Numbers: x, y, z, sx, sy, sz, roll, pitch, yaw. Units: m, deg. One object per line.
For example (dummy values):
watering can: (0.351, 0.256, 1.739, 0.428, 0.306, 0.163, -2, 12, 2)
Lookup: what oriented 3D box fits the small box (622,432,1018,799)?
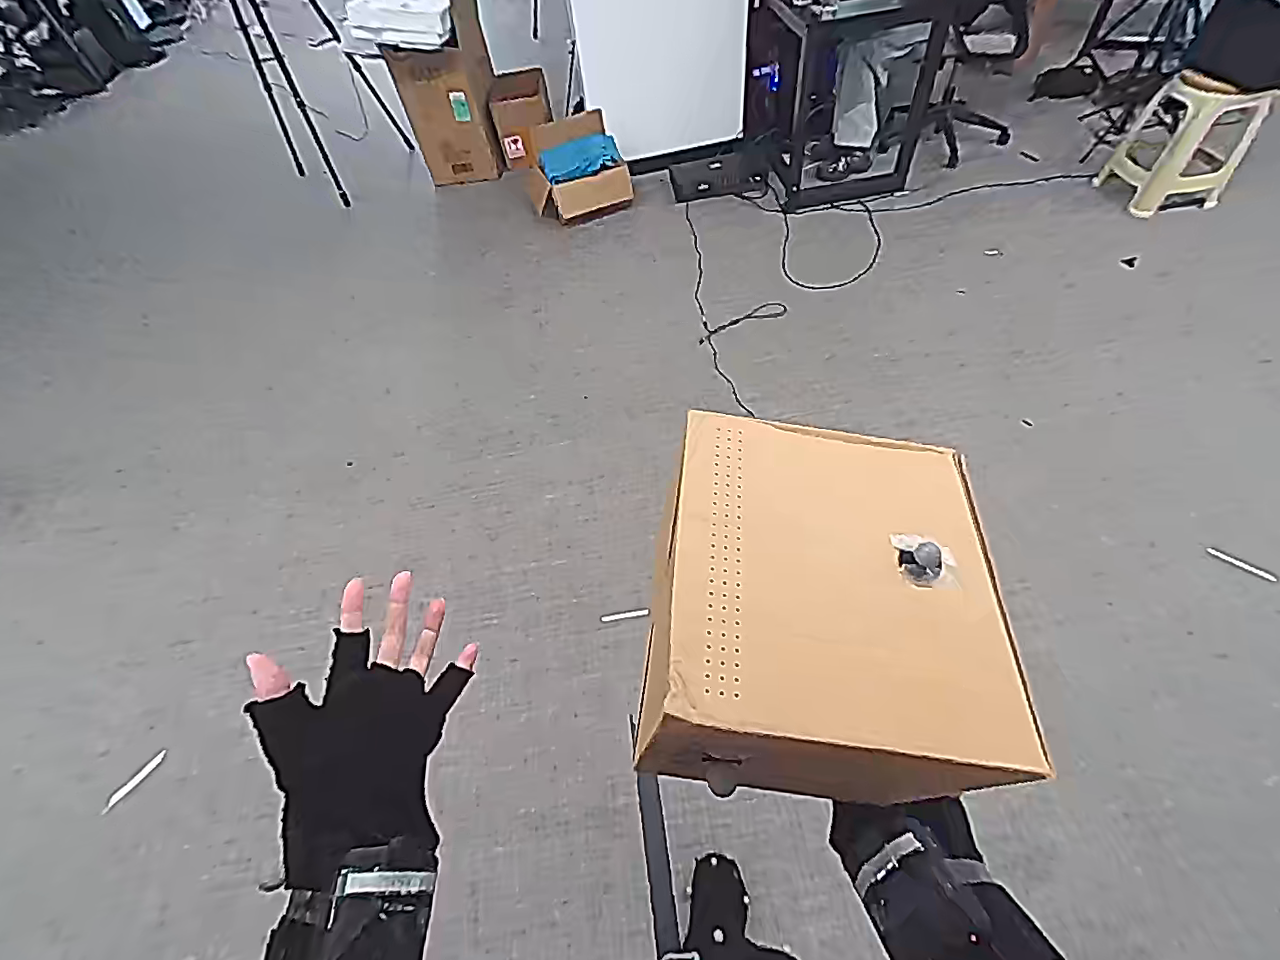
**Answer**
small box: (0.086, 0.088, 0.349, 0.176, 0.168, 0.179, 8, 54, 0)
